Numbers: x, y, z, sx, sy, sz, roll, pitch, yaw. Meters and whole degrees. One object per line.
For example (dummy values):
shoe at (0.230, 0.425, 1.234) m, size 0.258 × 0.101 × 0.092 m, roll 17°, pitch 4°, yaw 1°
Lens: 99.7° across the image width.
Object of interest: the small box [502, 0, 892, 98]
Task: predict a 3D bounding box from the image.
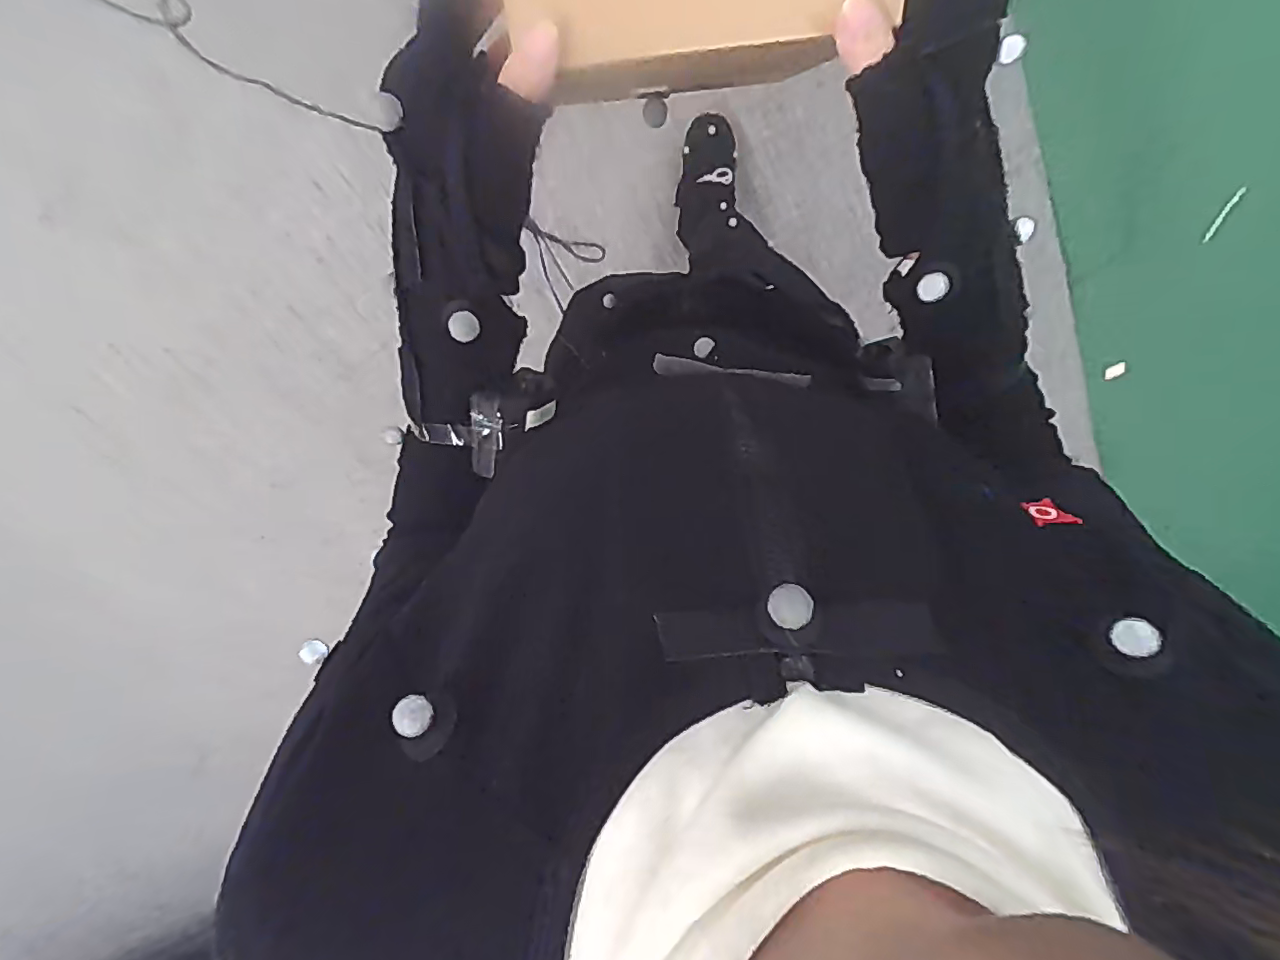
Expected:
small box at (0.012, -0.303, 0.254) m, size 0.168 × 0.176 × 0.179 m, roll -7°, pitch 120°, yaw 0°
